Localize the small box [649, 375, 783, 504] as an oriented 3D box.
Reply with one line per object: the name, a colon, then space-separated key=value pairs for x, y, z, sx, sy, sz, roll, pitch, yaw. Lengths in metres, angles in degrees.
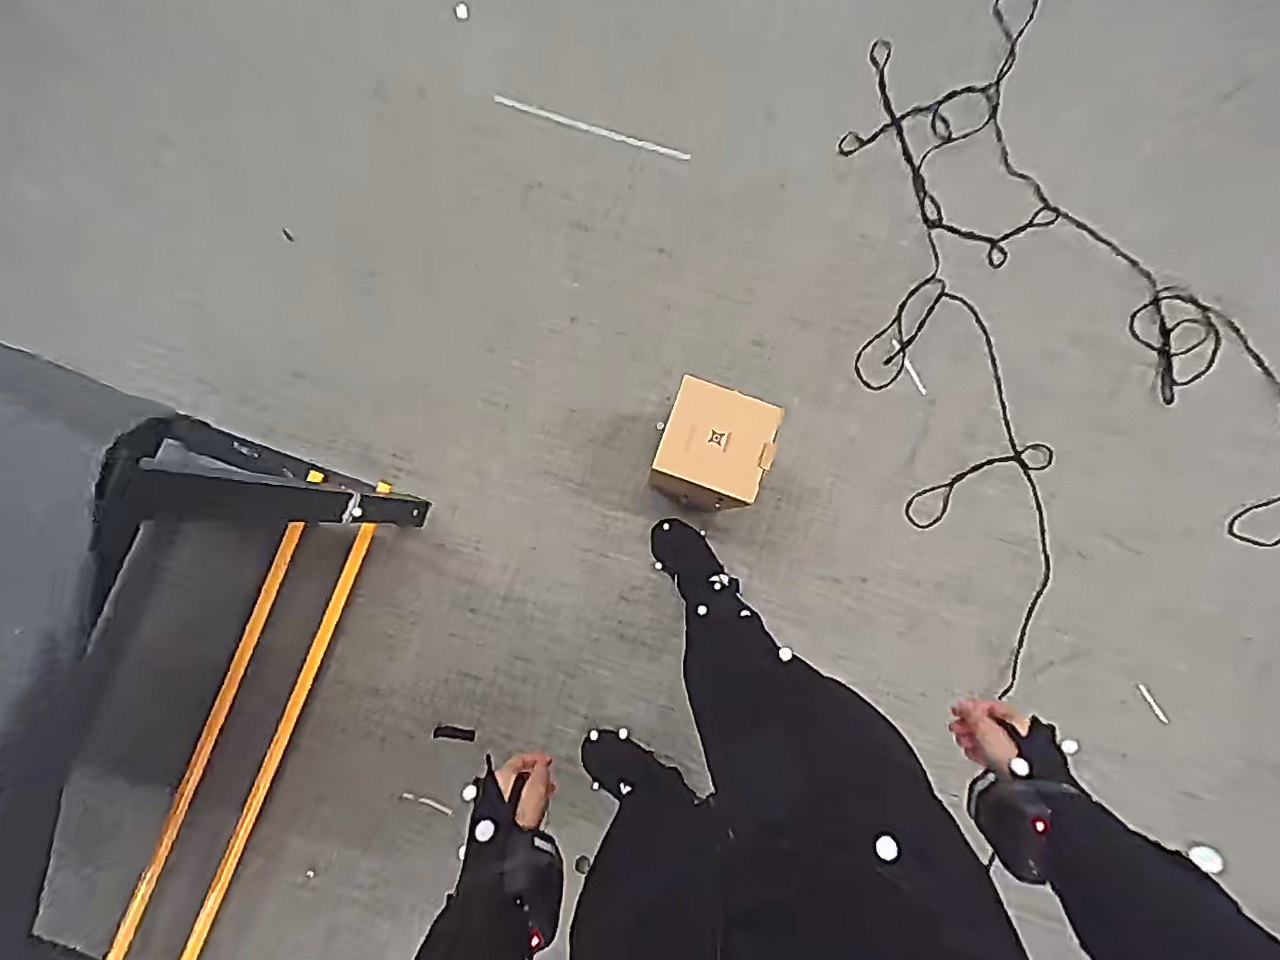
small box: x=0.124 y=-0.060 z=0.944 sx=0.179 sy=0.176 sz=0.168 roll=19 pitch=84 yaw=2

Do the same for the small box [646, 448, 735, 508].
small box: x=0.124 y=-0.050 z=1.106 sx=0.179 sy=0.176 sz=0.168 roll=22 pitch=84 yaw=0
